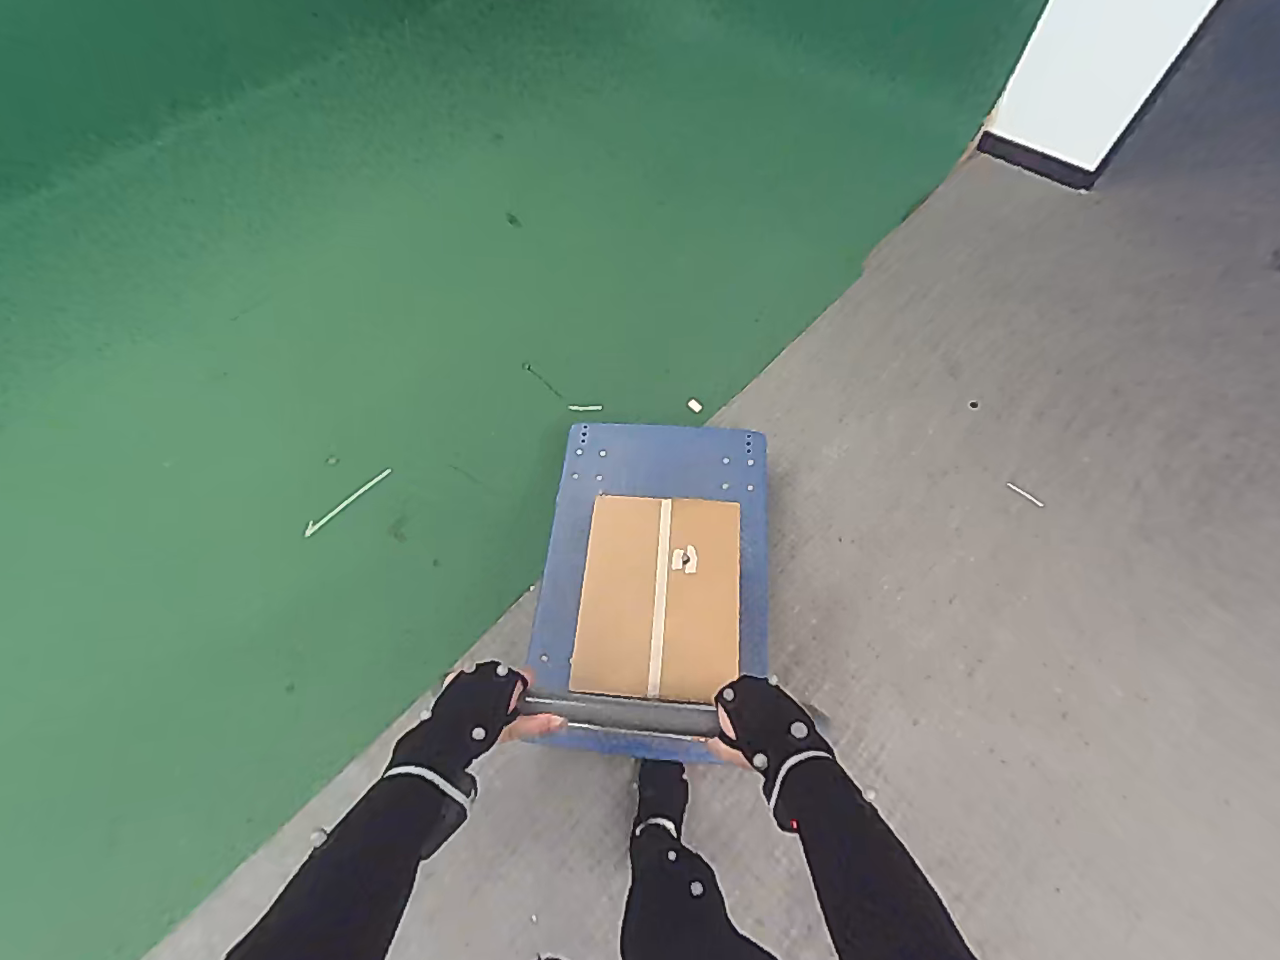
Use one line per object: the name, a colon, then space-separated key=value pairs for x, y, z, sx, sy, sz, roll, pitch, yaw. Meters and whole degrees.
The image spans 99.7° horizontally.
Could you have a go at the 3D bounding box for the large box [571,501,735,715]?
large box: x=0.044 y=0.298 z=1.226 sx=0.320 sy=0.320 sz=0.408 roll=4 pitch=62 yaw=5
